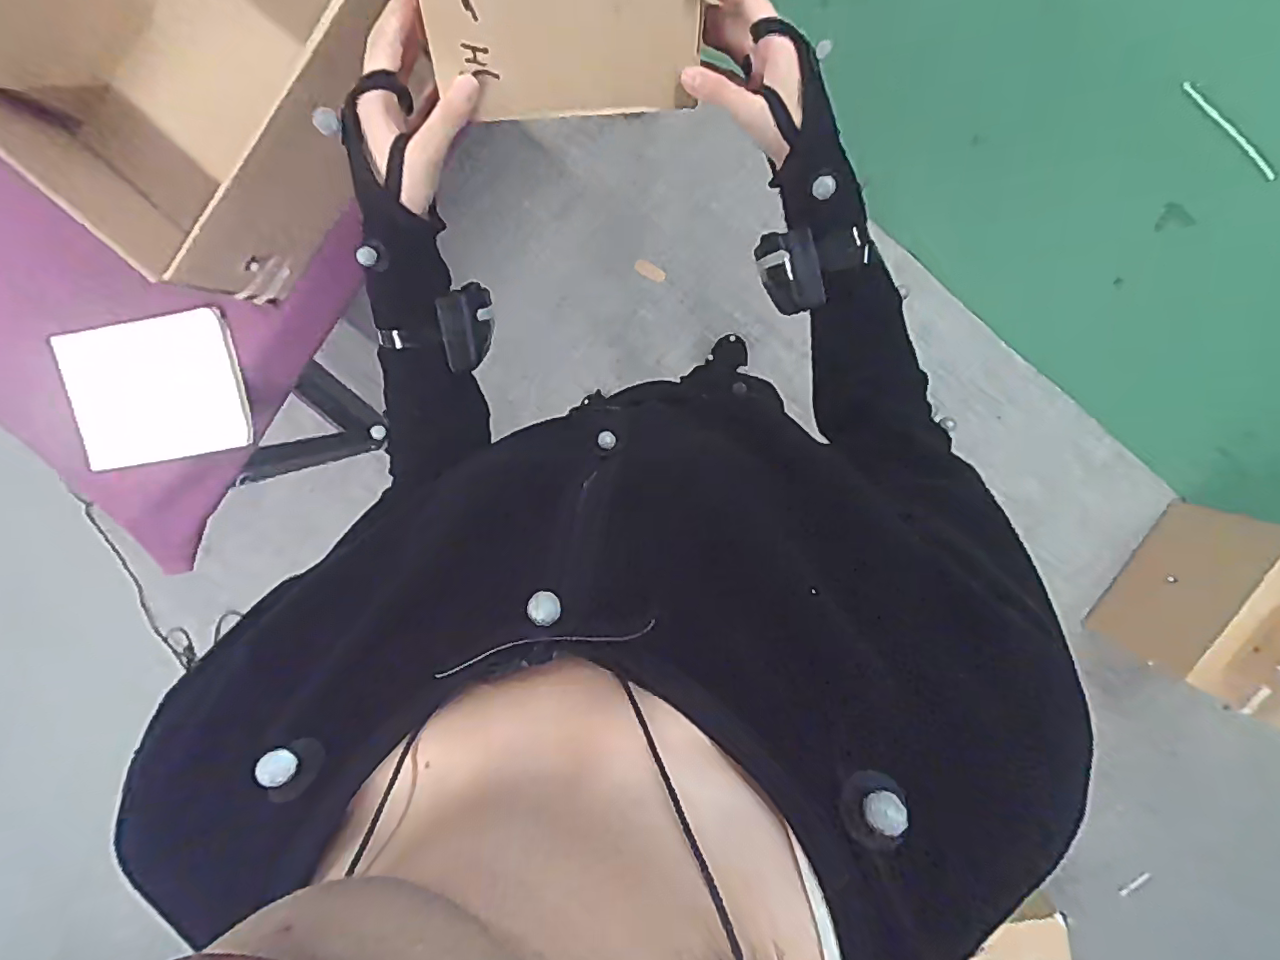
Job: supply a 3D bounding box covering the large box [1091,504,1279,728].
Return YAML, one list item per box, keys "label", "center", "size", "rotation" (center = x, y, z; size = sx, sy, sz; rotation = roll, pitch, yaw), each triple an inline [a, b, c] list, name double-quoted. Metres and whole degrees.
- label: "large box"
  center: [1.447, 0.321, 1.317]
  size: [0.320, 0.320, 0.408]
  rotation: [26, 100, -2]

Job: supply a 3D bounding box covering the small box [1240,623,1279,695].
- label: "small box"
  center: [1.400, 0.396, 1.084]
  size: [0.179, 0.176, 0.168]
  rotation: [27, 101, -1]

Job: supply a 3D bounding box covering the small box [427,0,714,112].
- label: "small box"
  center: [-0.058, -0.362, 0.359]
  size: [0.179, 0.176, 0.168]
  rotation: [-10, 136, -11]
